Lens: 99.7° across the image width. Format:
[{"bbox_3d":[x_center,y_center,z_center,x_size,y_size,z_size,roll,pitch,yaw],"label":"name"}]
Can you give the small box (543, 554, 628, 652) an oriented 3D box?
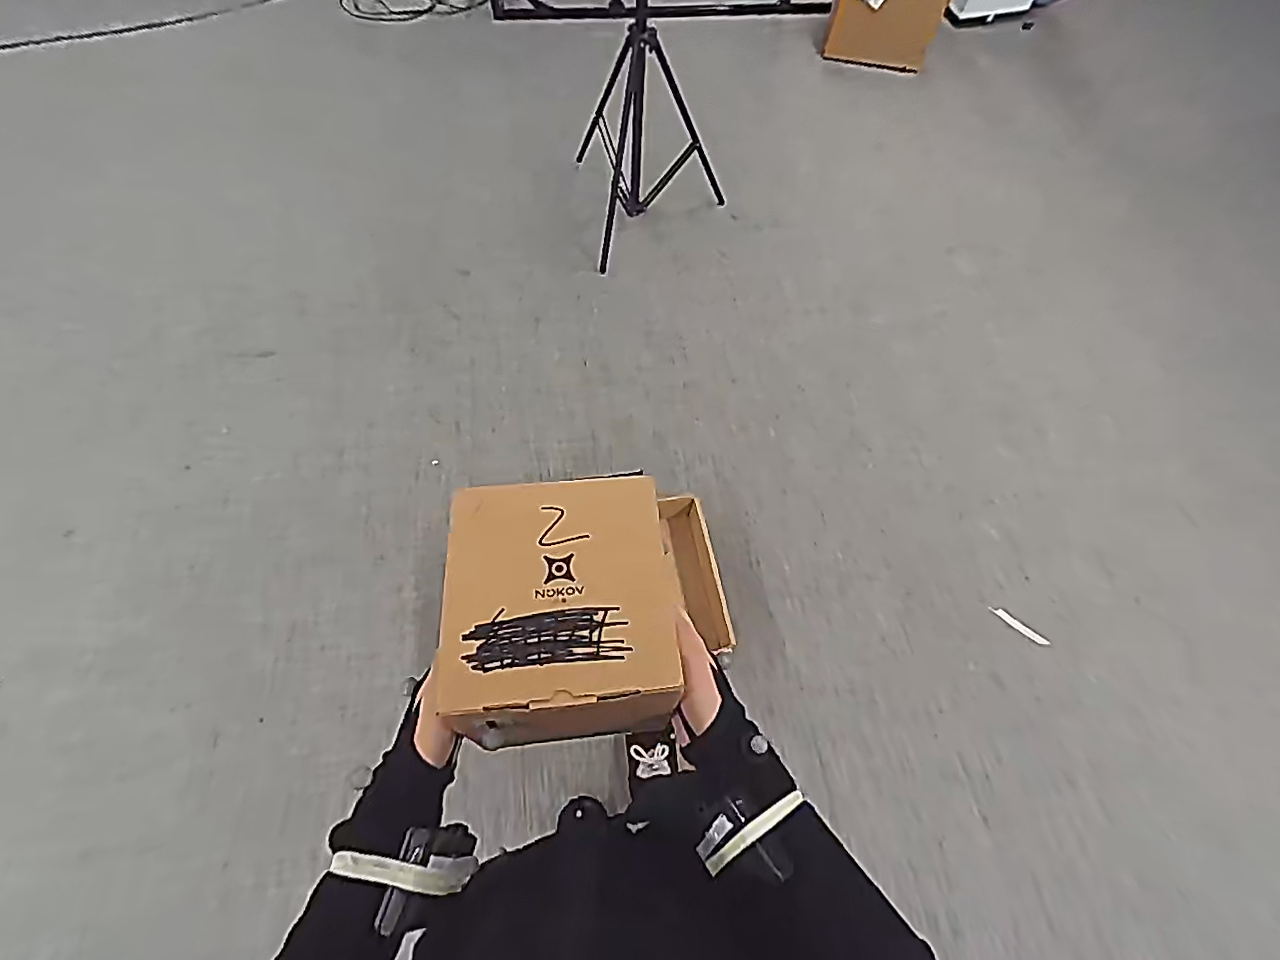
[{"bbox_3d":[-0.131,0.301,1.306,0.168,0.176,0.179,-14,67,-8],"label":"small box"}]
